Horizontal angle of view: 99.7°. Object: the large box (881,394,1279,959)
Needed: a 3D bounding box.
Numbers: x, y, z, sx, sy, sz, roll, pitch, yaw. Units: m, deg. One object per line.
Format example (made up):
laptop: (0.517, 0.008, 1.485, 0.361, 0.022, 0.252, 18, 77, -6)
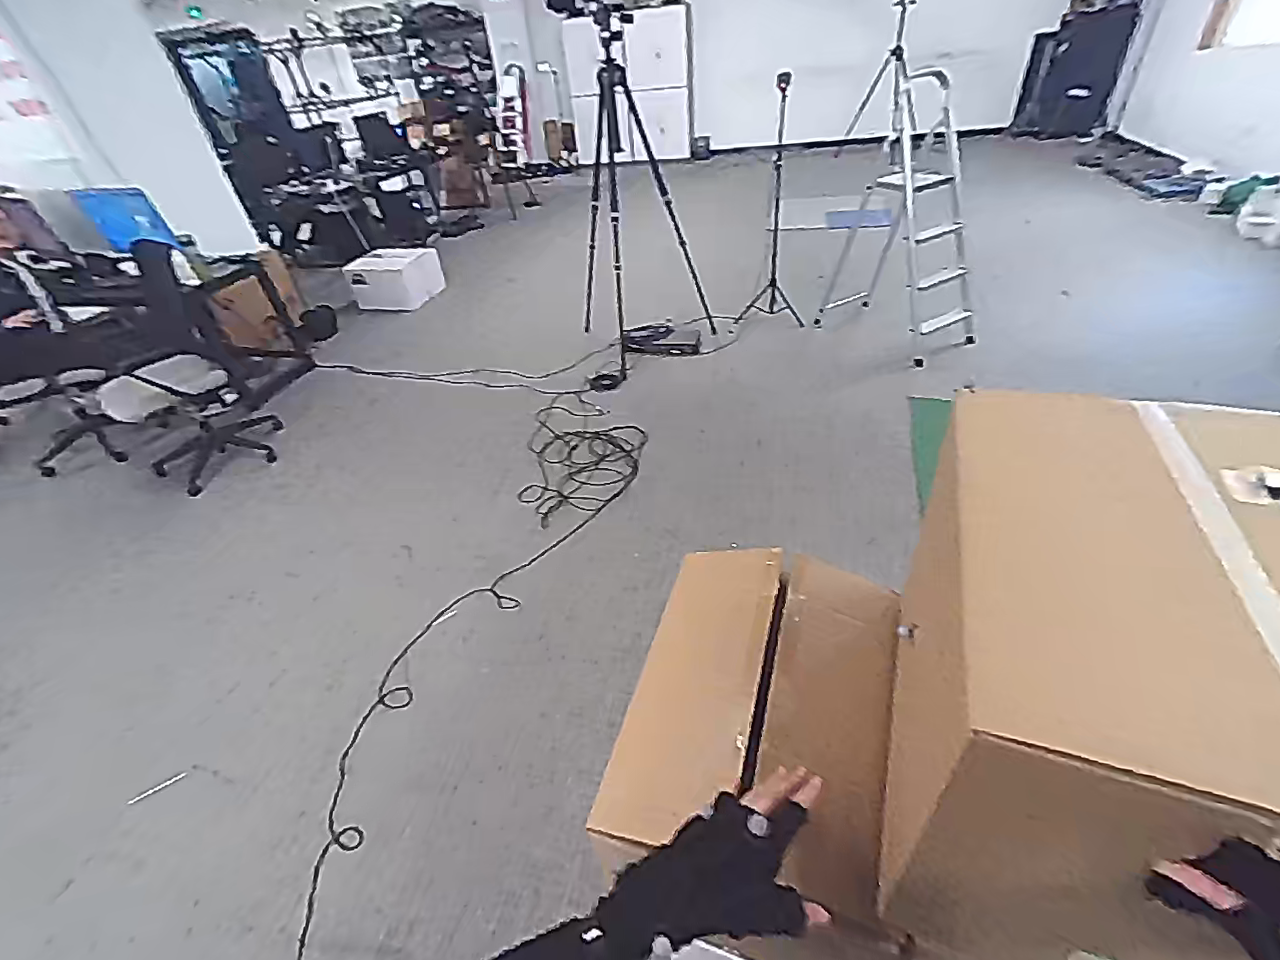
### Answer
large box: (0.400, 0.162, 0.465, 0.320, 0.320, 0.408, 10, 39, 23)
